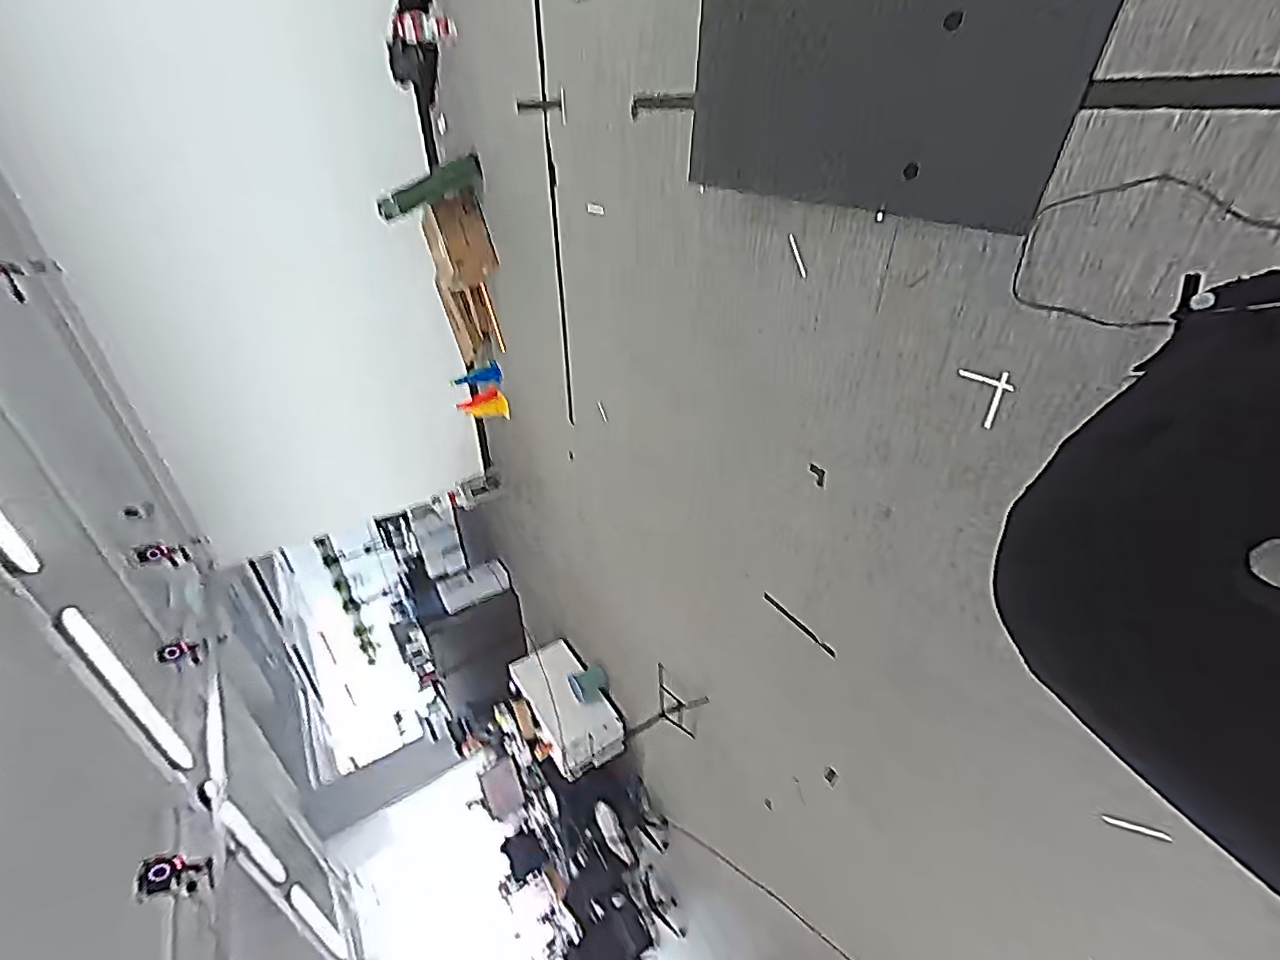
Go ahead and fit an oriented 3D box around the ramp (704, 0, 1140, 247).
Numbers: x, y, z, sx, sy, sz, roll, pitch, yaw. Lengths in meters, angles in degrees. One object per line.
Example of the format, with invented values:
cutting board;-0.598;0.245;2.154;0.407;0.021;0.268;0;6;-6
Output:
ramp;0.570;-0.936;1.385;0.991;0.206;0.509;39;137;44
